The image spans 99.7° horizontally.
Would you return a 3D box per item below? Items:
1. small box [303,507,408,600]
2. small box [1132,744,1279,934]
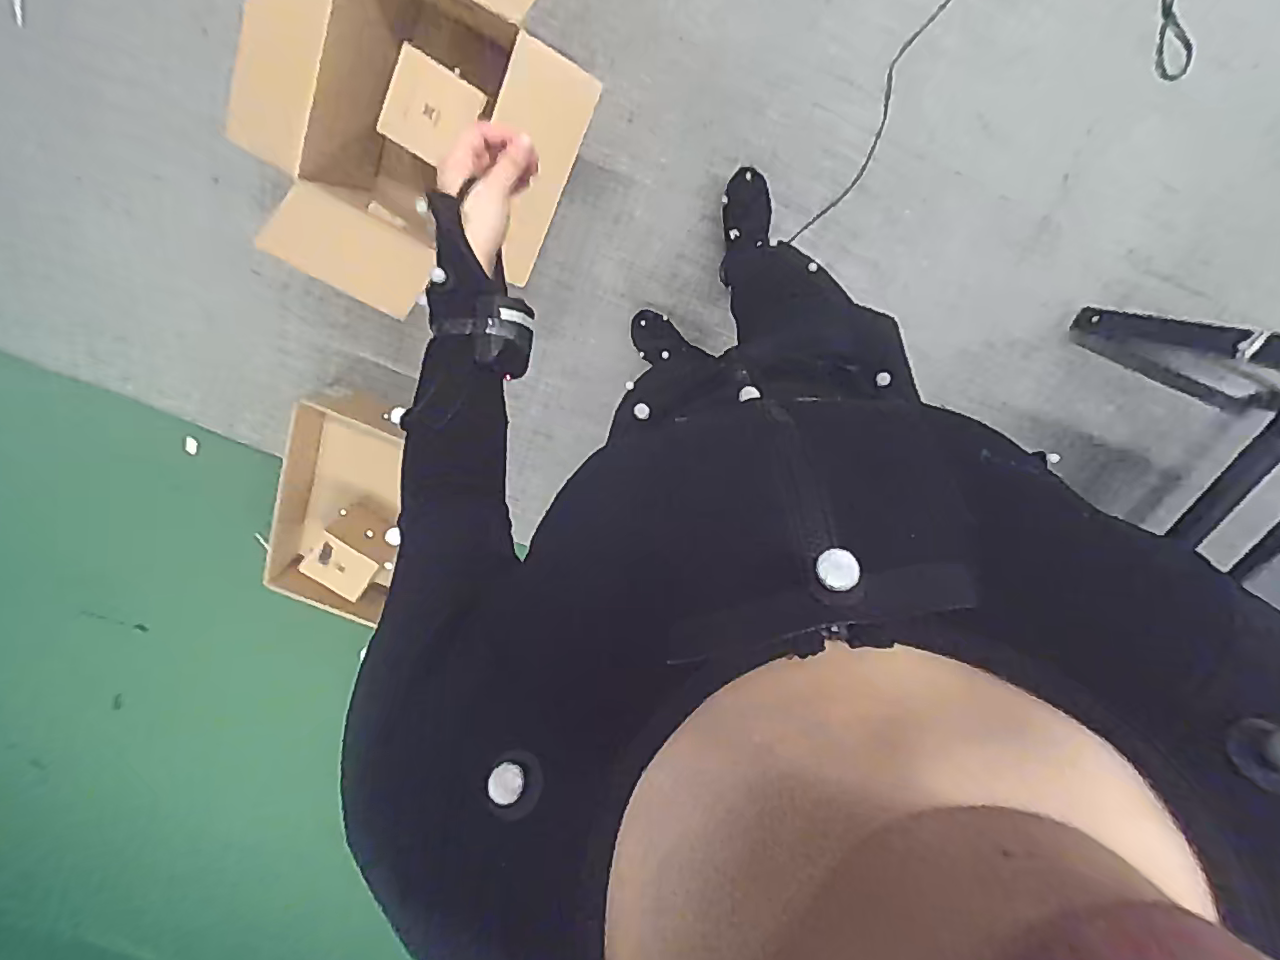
[{"bbox_3d":[-0.807,0.201,1.548,0.179,0.176,0.168,37,110,-12],"label":"small box"},{"bbox_3d":[0.956,0.572,0.873,0.179,0.176,0.168,-37,108,16],"label":"small box"}]
